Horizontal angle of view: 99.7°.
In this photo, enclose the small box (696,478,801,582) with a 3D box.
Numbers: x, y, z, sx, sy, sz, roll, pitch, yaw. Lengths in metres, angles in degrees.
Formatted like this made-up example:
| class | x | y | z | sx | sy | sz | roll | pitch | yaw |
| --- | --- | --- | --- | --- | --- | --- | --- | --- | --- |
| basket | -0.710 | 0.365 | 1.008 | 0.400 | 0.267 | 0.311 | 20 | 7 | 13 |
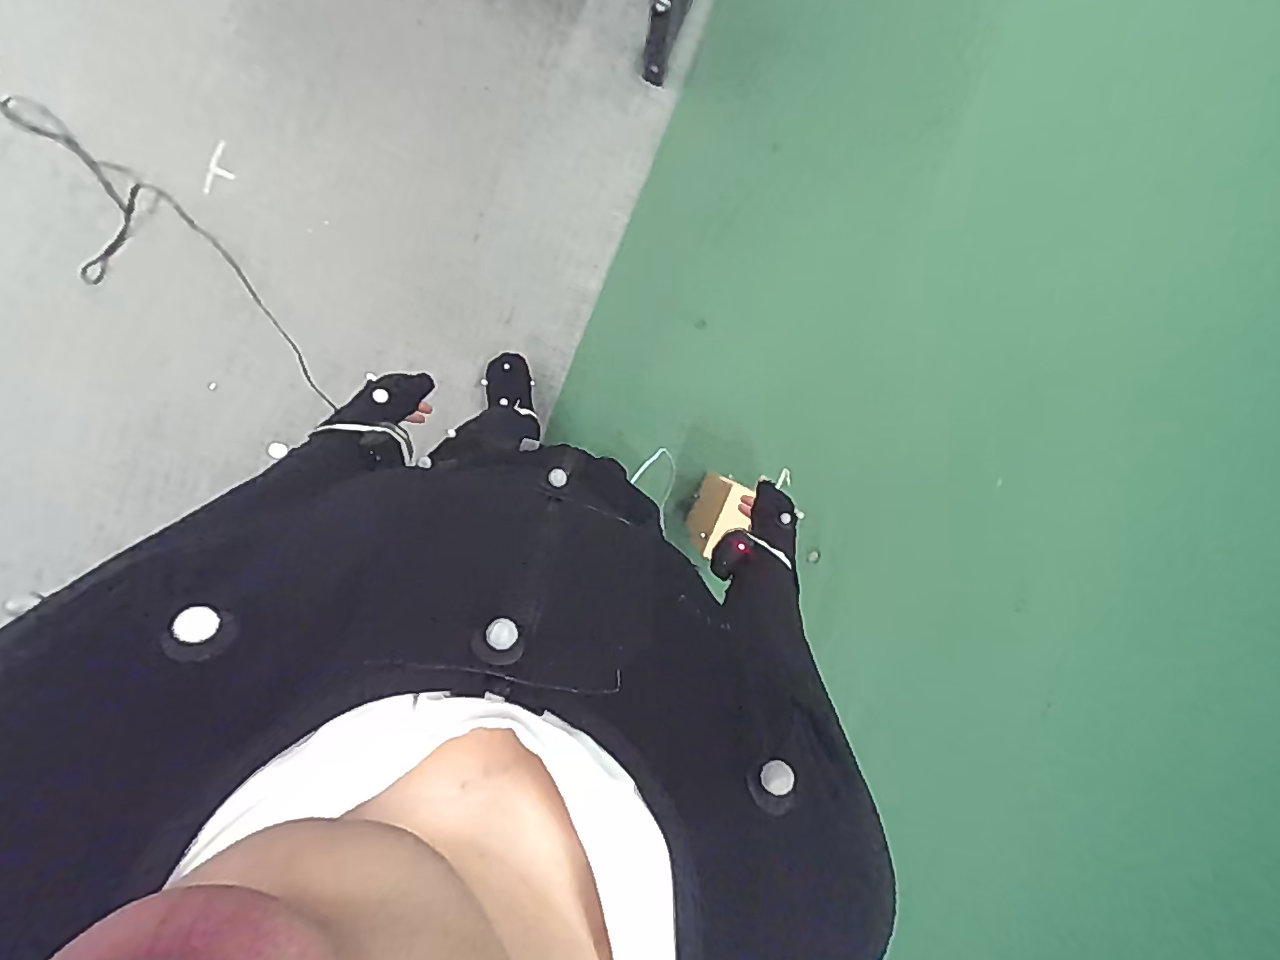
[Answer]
| class | x | y | z | sx | sy | sz | roll | pitch | yaw |
| --- | --- | --- | --- | --- | --- | --- | --- | --- | --- |
| small box | 0.241 | 0.108 | 1.259 | 0.168 | 0.176 | 0.179 | 23 | 95 | -5 |
